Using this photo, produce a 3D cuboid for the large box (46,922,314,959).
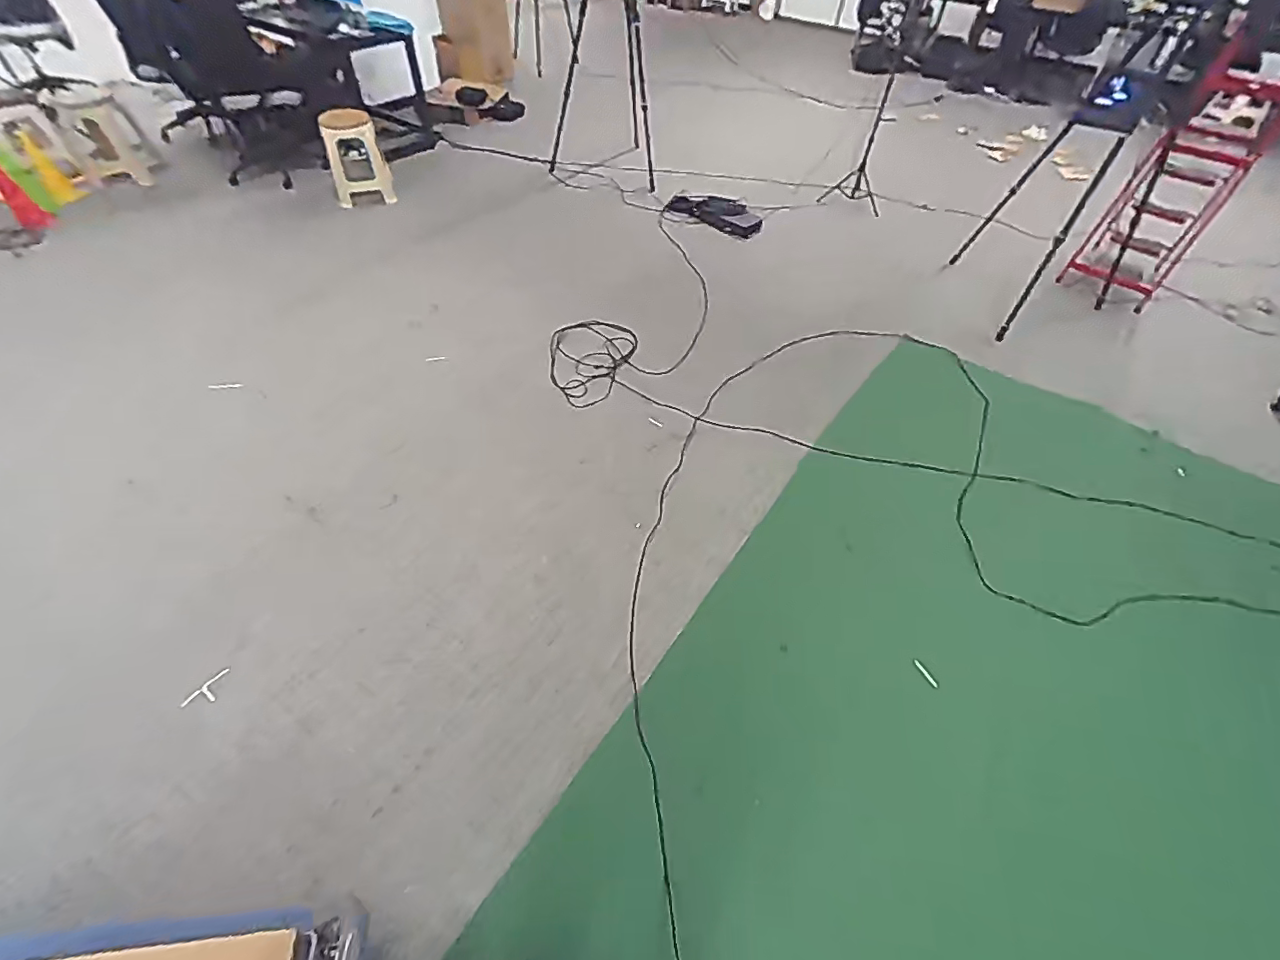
[{"bbox_3d":[-0.776,0.919,0.833,0.408,0.320,0.320,6,48,-19],"label":"large box"}]
